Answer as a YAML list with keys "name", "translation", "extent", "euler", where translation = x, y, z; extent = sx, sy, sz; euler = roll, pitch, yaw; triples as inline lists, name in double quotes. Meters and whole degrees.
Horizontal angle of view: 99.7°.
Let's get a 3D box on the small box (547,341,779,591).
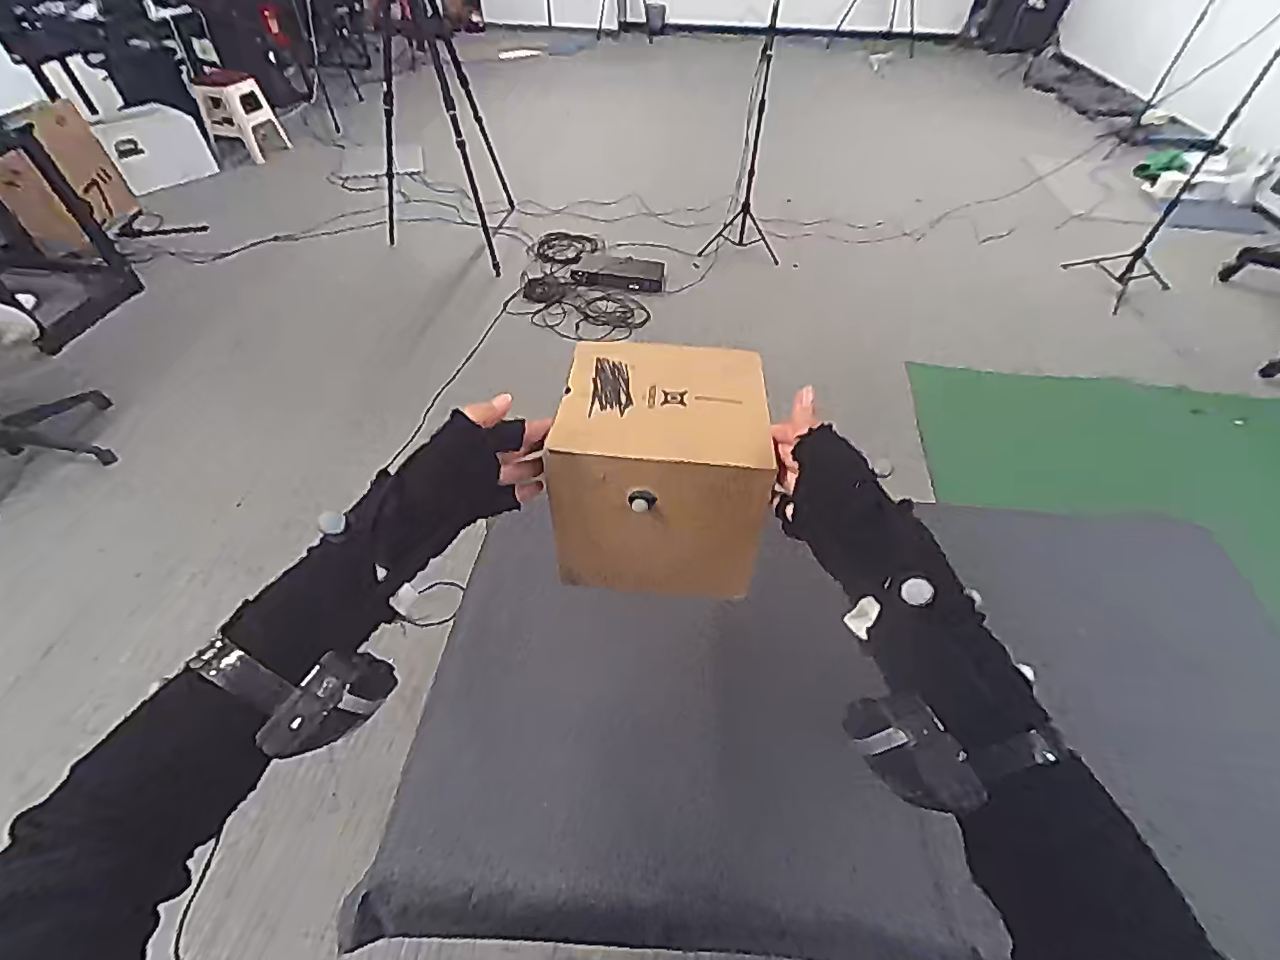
- name: "small box"
  translation: [0.022, -0.012, 0.509]
  extent: [0.179, 0.176, 0.168]
  euler: [5, 44, 2]
